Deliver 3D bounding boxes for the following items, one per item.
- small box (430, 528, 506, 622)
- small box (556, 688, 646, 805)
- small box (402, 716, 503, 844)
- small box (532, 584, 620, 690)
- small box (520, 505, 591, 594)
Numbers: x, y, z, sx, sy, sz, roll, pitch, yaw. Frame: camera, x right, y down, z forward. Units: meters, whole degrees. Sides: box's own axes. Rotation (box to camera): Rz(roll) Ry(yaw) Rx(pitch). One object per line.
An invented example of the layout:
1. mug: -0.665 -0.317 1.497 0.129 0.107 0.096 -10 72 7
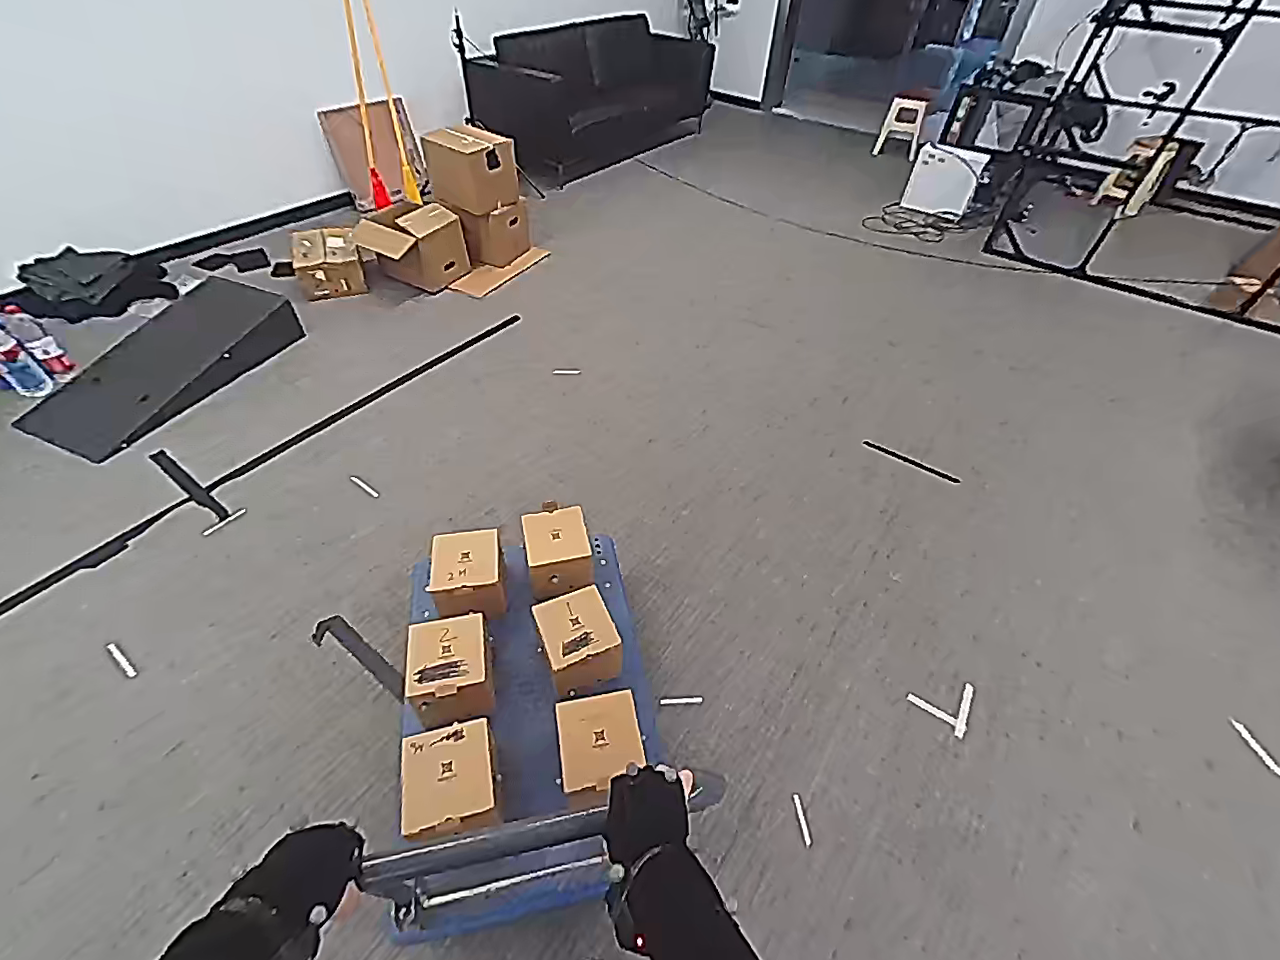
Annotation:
1. small box: -0.450 0.253 1.435 0.168 0.176 0.179 -6 48 -10
2. small box: -0.086 0.576 1.160 0.168 0.176 0.179 -6 47 -11
3. small box: -0.376 0.612 1.097 0.168 0.176 0.179 -9 48 -14
4. small box: -0.156 0.392 1.327 0.168 0.176 0.179 -16 49 -19
5. small box: -0.232 0.200 1.505 0.168 0.176 0.179 -10 48 -13
